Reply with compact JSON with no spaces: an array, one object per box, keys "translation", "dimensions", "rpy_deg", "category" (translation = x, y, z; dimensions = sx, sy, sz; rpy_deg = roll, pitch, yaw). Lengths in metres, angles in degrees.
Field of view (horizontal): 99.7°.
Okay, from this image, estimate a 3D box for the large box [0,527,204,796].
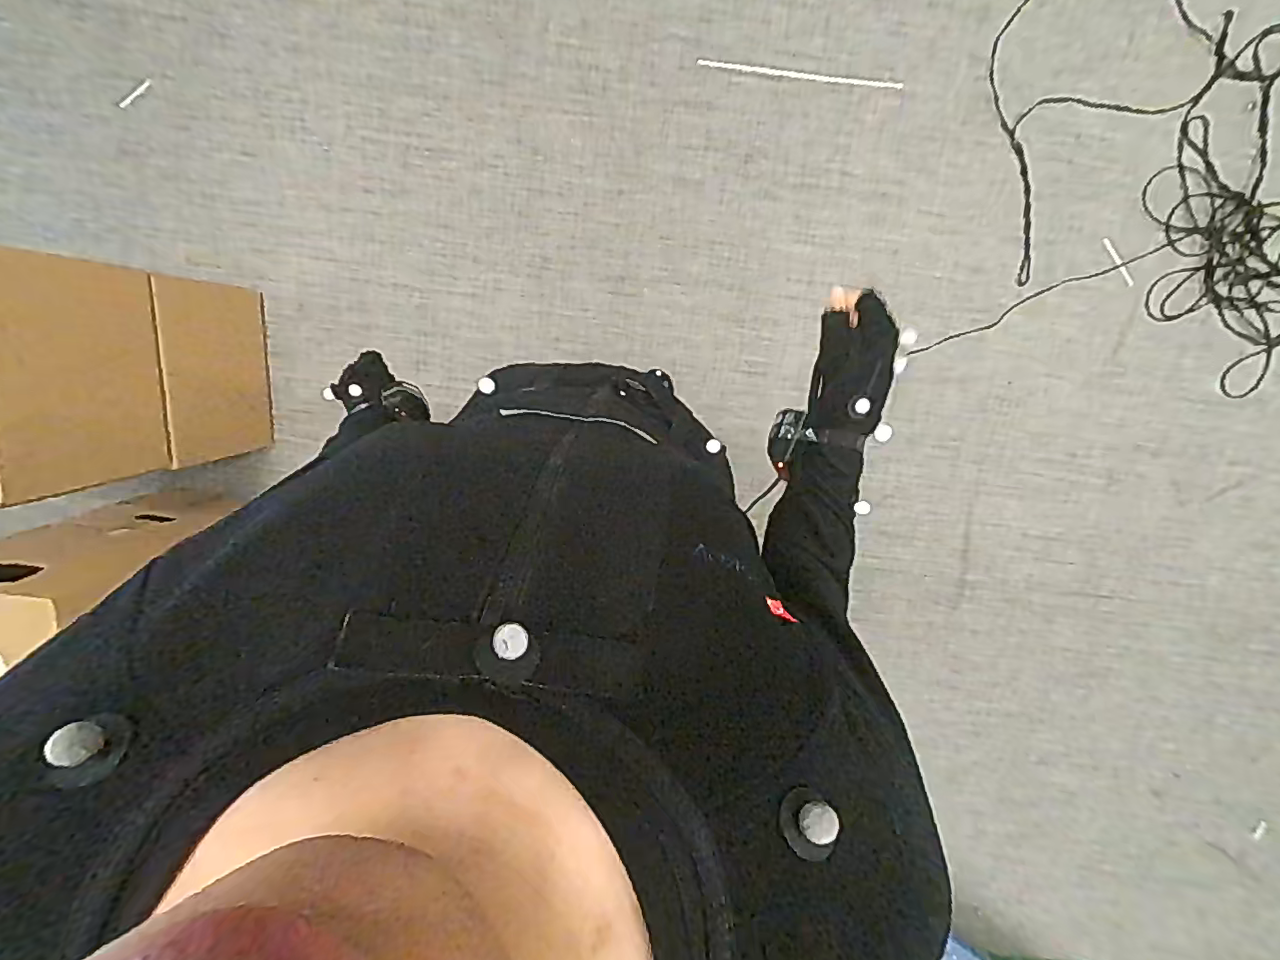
[{"translation":[-1.159,0.342,1.091],"dimensions":[0.320,0.320,0.408],"rpy_deg":[6,102,-3],"category":"large box"}]
